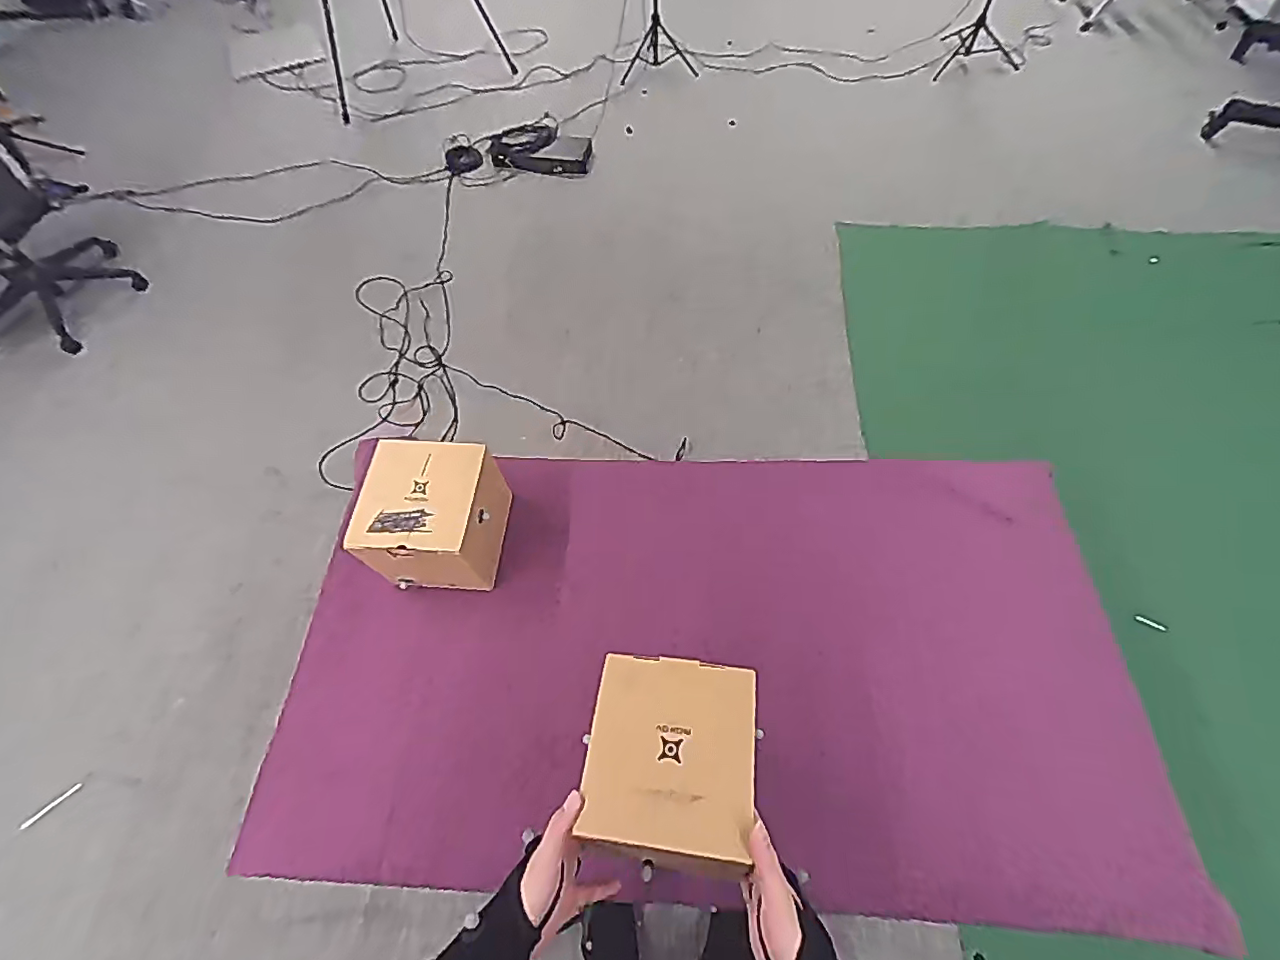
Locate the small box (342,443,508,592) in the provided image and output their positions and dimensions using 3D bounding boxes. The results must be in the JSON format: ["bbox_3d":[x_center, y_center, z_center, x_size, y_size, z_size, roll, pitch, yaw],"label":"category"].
[{"bbox_3d":[-0.310,0.064,0.823,0.168,0.176,0.179,4,62,2],"label":"small box"}]

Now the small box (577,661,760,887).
[{"bbox_3d":[0.038,0.324,0.596,0.168,0.176,0.179,4,51,8],"label":"small box"}]
